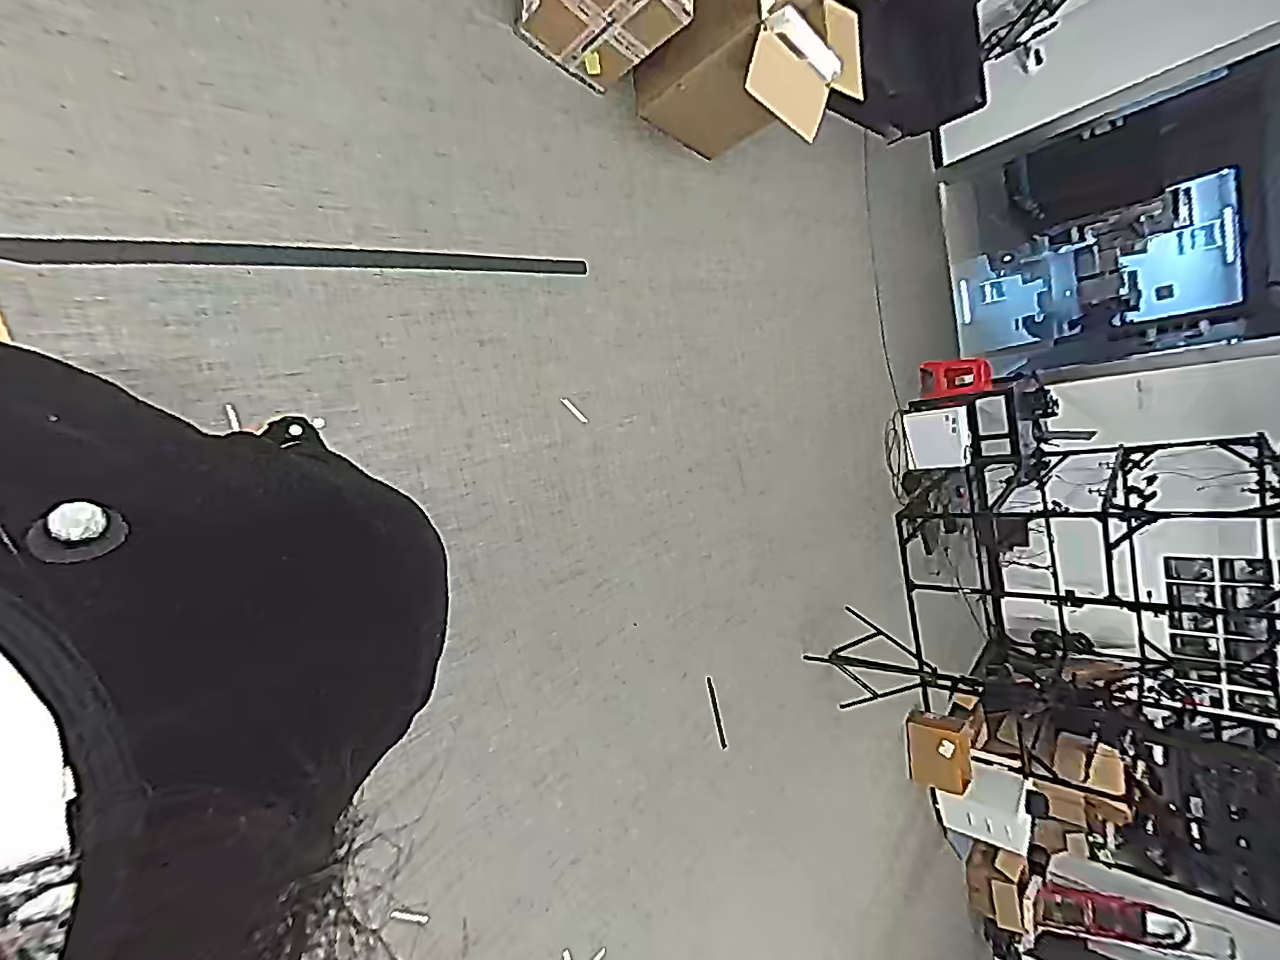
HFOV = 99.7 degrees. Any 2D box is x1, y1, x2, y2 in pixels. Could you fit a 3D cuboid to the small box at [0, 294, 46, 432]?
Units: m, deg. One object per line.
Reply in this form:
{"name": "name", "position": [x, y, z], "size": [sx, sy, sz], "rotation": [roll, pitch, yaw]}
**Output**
{"name": "small box", "position": [-0.921, -0.153, 0.702], "size": [0.168, 0.176, 0.179], "rotation": [-22, 103, -44]}

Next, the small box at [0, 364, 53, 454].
{"name": "small box", "position": [-1.158, -0.131, 0.930], "size": [0.179, 0.176, 0.168], "rotation": [-20, 100, -43]}
